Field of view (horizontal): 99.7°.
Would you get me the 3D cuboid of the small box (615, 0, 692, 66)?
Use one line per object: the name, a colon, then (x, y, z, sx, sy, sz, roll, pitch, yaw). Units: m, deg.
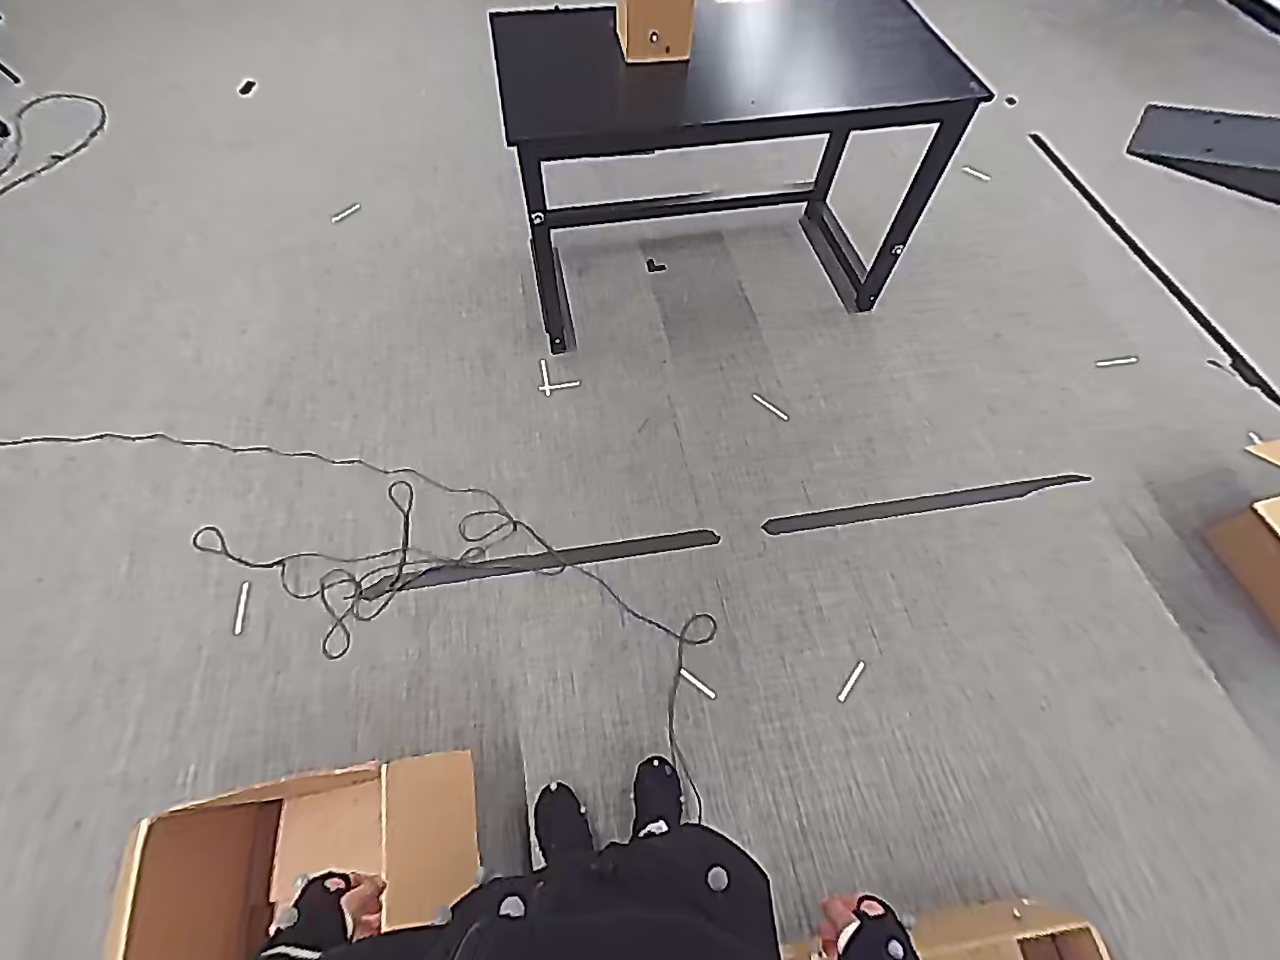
small box: (0.028, -1.187, 1.369, 0.168, 0.176, 0.179, -9, 63, -6)
